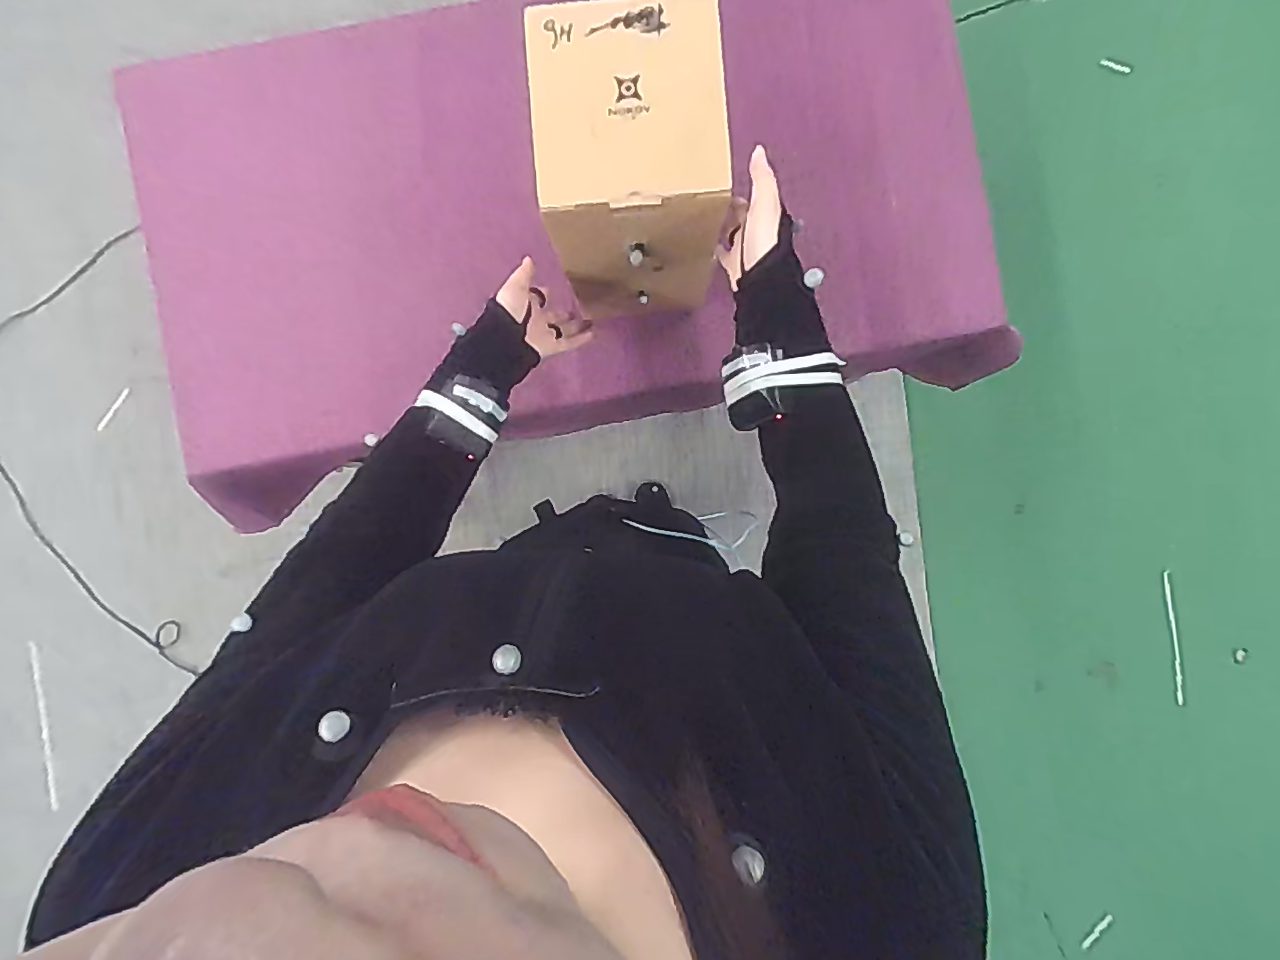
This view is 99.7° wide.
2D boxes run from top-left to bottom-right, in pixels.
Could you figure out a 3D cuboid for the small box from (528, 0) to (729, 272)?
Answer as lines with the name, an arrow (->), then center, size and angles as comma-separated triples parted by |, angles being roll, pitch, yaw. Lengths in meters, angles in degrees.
small box -> -0.007, -0.319, 0.536 | 0.168, 0.176, 0.179 | -4, 91, 1
